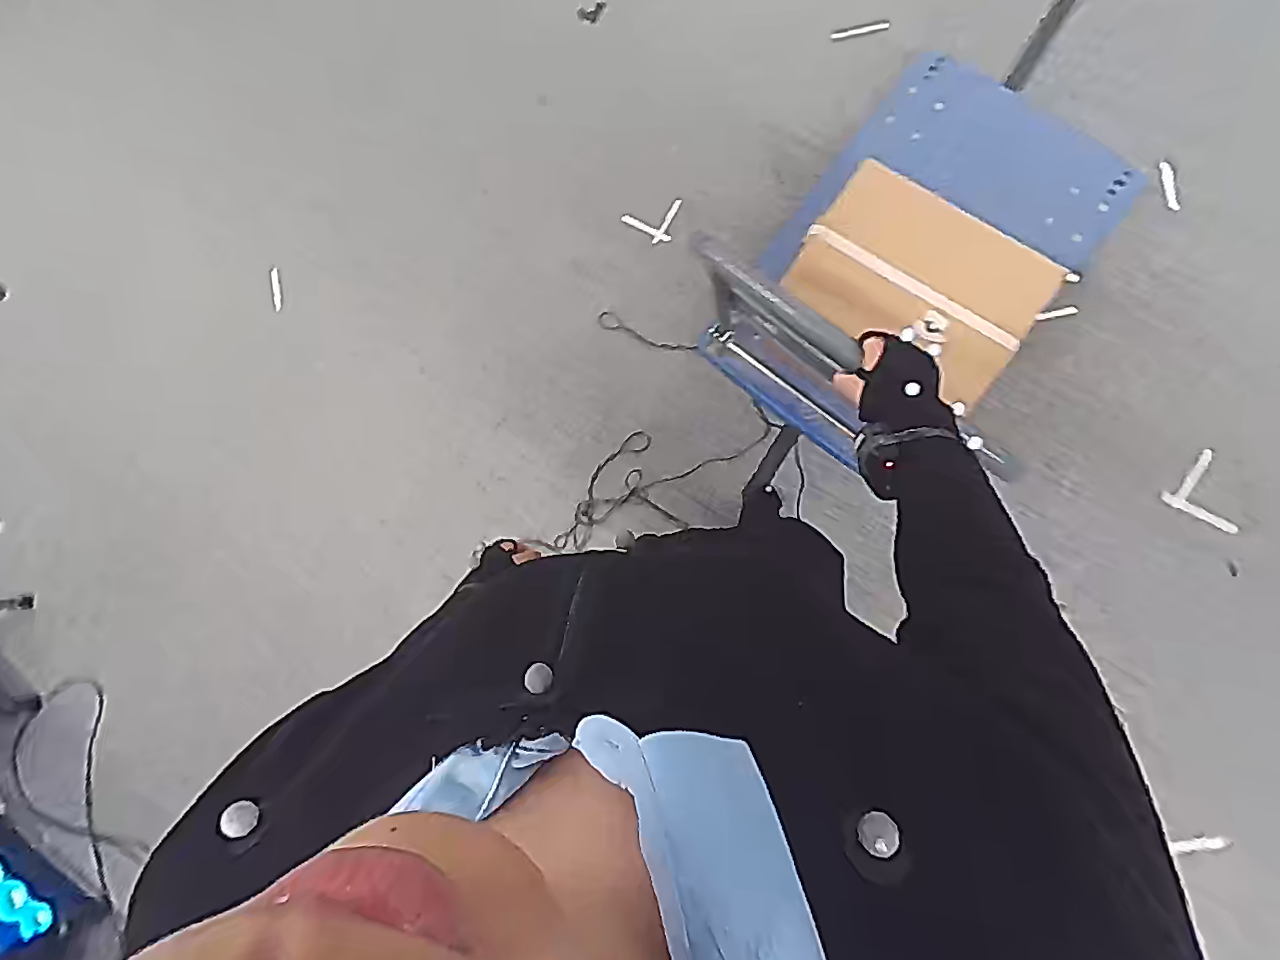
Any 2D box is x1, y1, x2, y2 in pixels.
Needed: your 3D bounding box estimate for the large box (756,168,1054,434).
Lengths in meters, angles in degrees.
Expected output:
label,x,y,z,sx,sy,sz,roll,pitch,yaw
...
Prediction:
label,x,y,z,sx,sy,sz,roll,pitch,yaw
large box,0.500,-0.341,1.126,0.408,0.320,0.320,35,95,7
